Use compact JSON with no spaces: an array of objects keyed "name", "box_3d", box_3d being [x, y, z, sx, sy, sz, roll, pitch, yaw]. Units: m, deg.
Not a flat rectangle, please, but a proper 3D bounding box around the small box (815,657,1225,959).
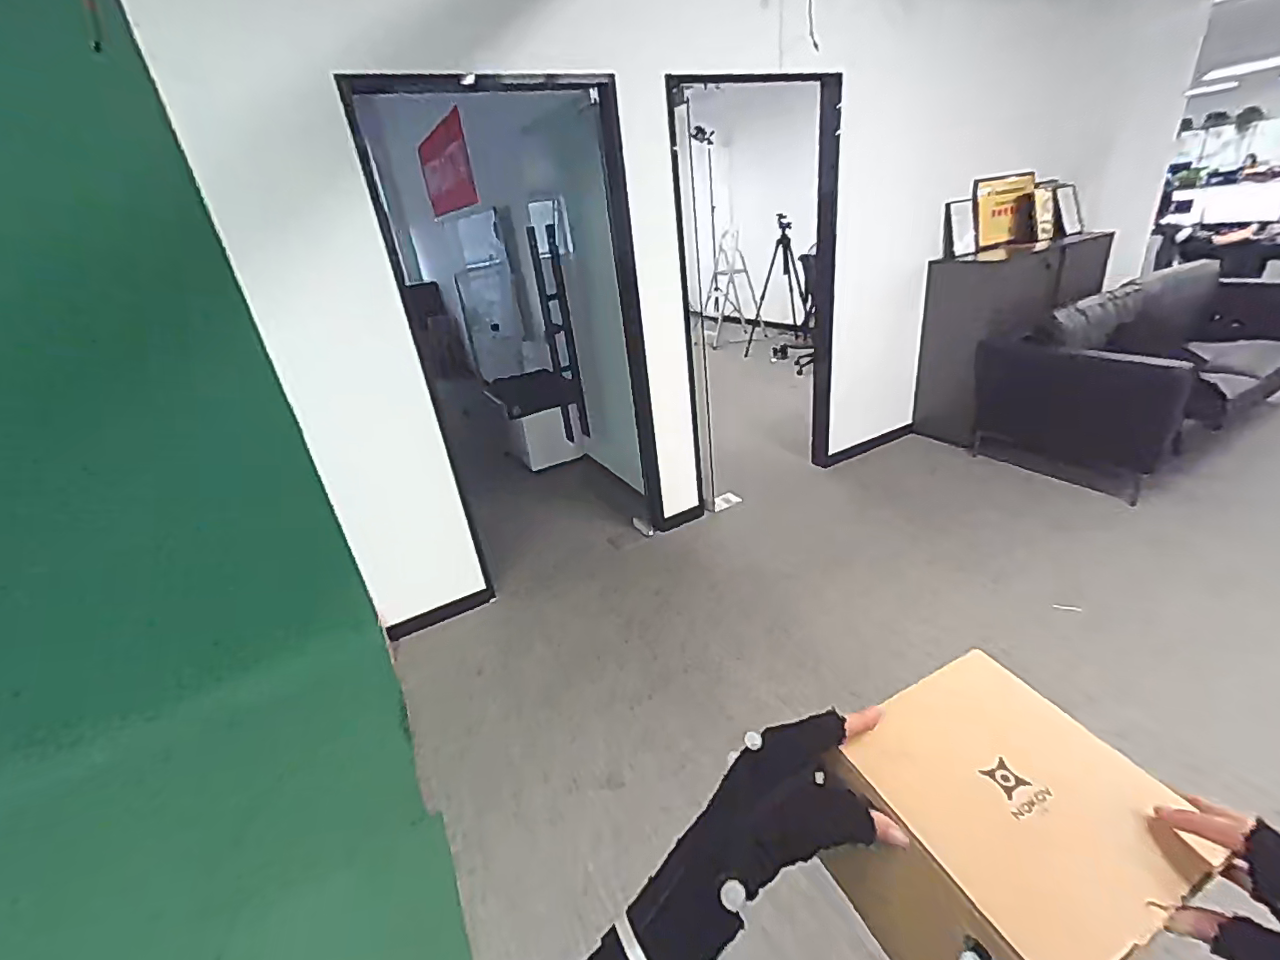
[{"name":"small box","box_3d":[0.256,0.280,0.414,0.168,0.176,0.179,-18,34,-19]}]
